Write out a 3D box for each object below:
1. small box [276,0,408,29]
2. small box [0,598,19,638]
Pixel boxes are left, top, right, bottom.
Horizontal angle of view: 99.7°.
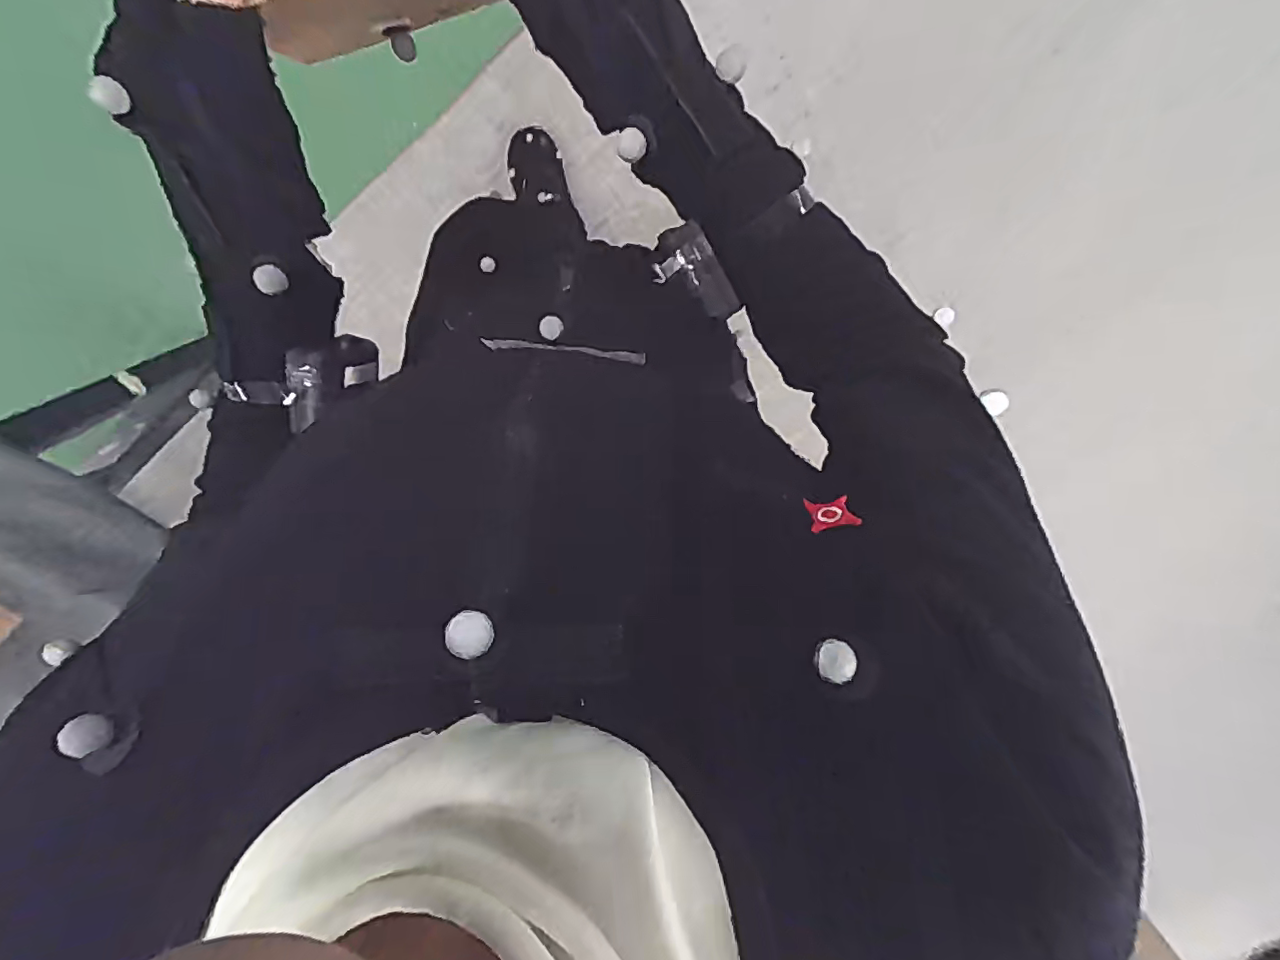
[{"bbox_3d":[-0.164,-0.365,0.265,0.168,0.176,0.179,-21,125,-1],"label":"small box"},{"bbox_3d":[-0.884,0.196,0.606,0.179,0.176,0.168,-35,119,13],"label":"small box"}]
